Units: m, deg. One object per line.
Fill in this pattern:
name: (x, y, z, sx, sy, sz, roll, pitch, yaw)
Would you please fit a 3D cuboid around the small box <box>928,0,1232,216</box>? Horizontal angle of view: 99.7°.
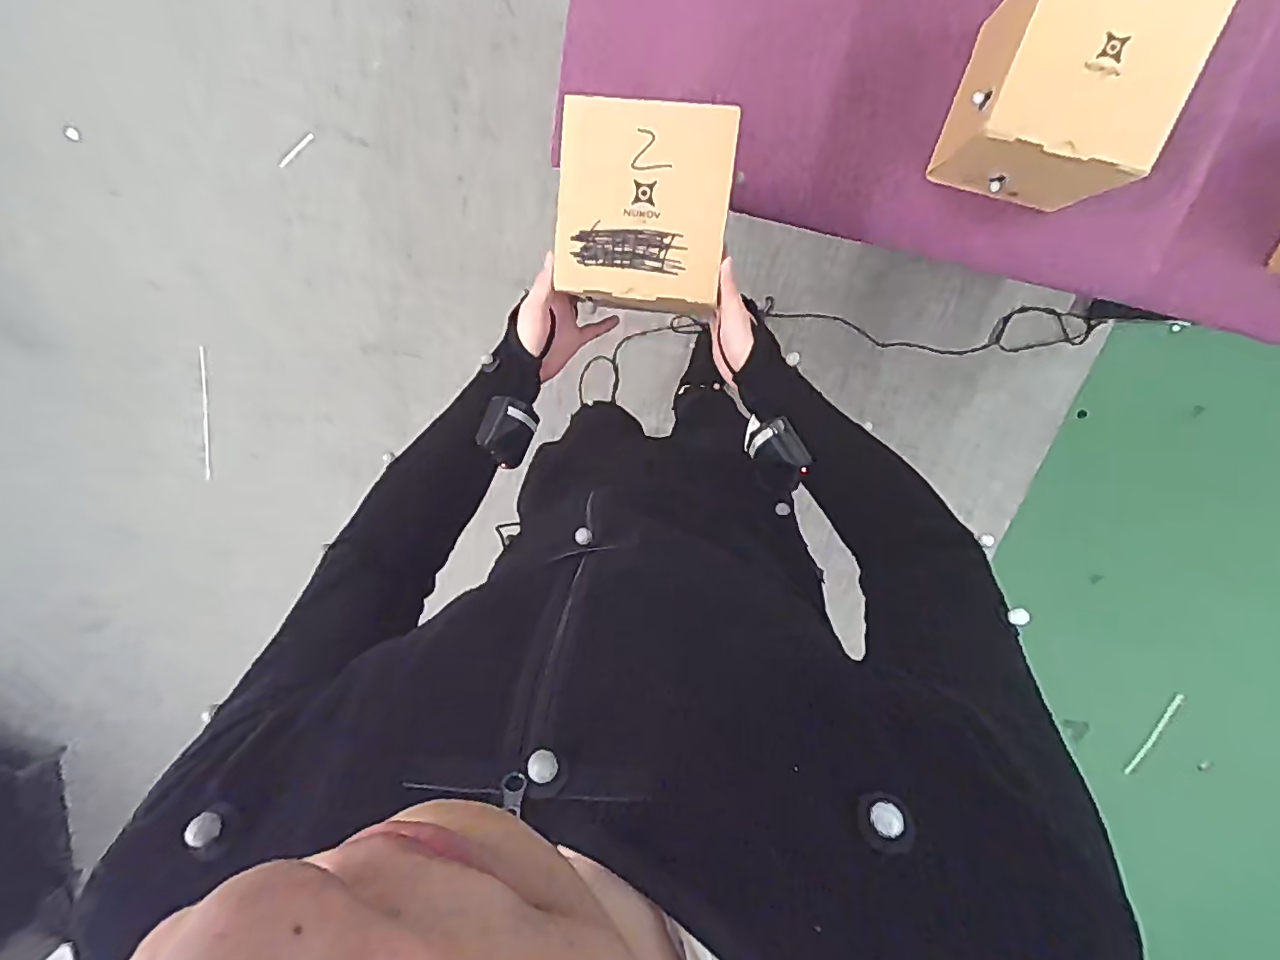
small box: (0.453, -0.415, 0.596, 0.168, 0.176, 0.179, 16, 109, 2)
